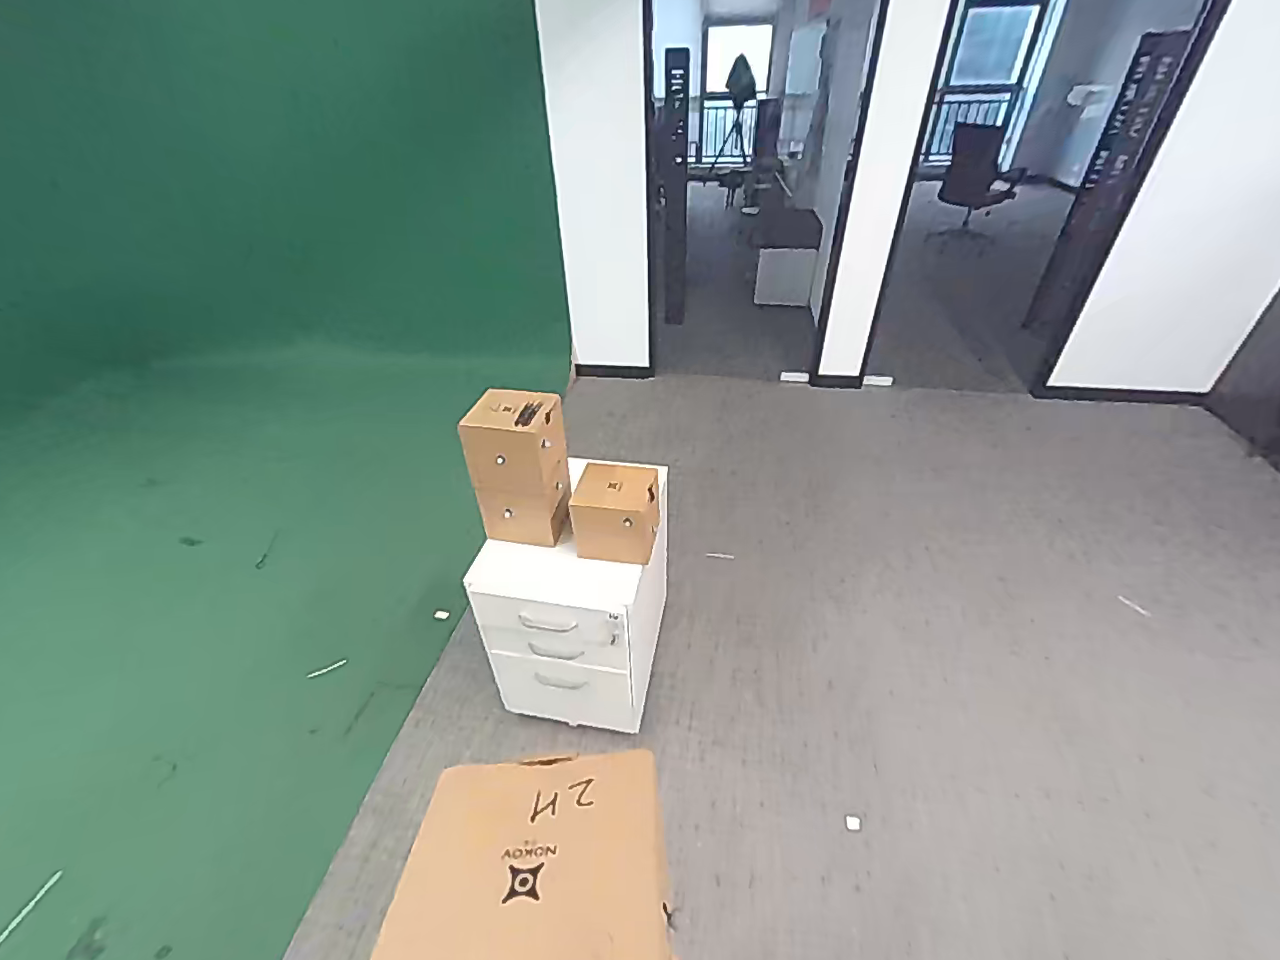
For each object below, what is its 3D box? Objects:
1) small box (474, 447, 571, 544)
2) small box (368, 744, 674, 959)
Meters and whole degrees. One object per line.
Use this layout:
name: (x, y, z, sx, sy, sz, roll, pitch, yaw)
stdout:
small box: (-0.278, 0.039, 1.323, 0.179, 0.176, 0.168, 6, 39, 9)
small box: (-0.063, 0.320, 0.374, 0.168, 0.176, 0.179, -5, 20, 2)
